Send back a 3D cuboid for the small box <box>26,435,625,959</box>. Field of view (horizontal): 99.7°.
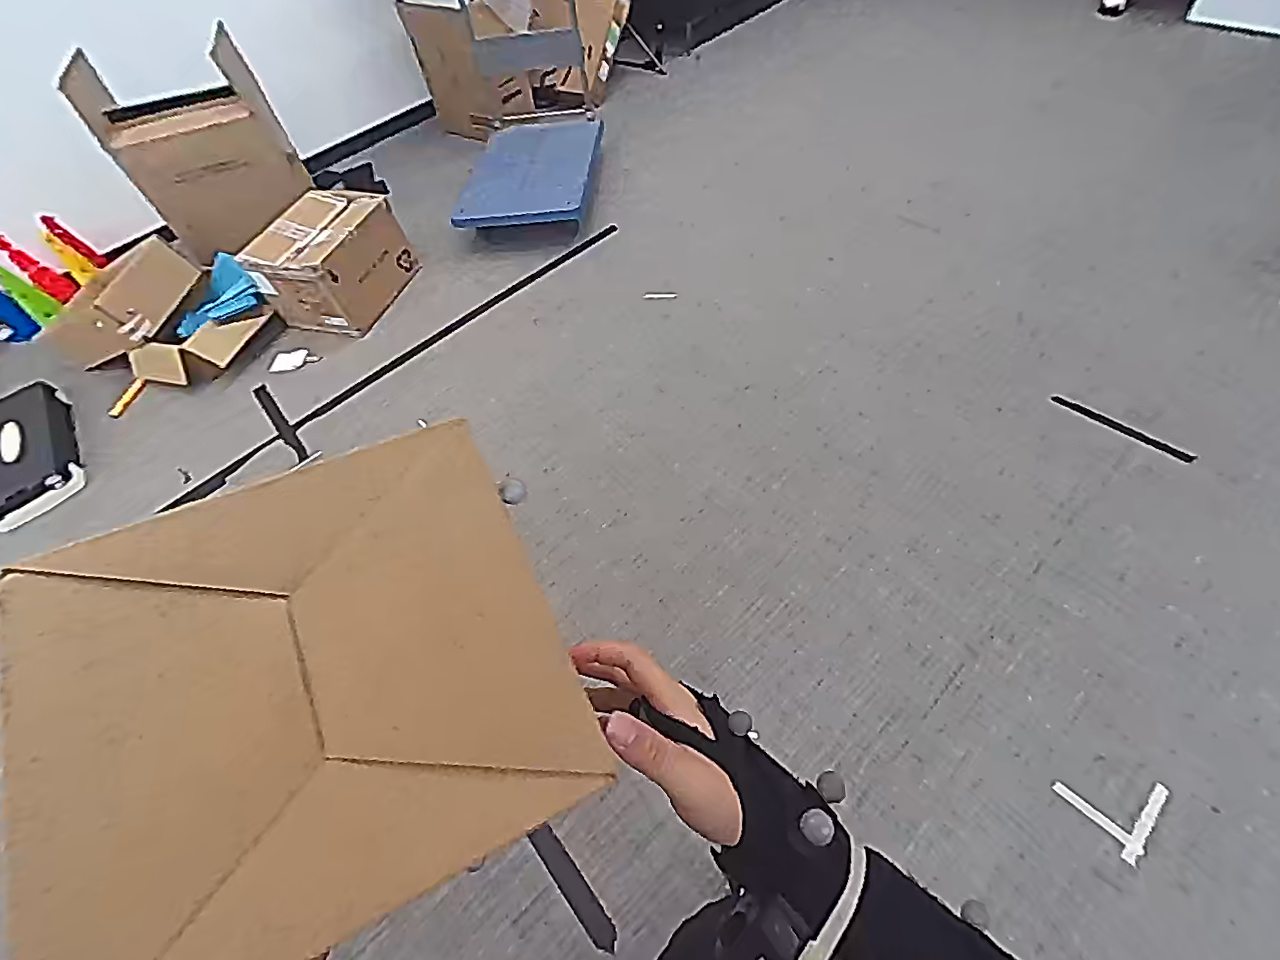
[{"bbox_3d":[-0.121,0.099,0.267,0.179,0.176,0.168,-20,69,-19],"label":"small box"}]
